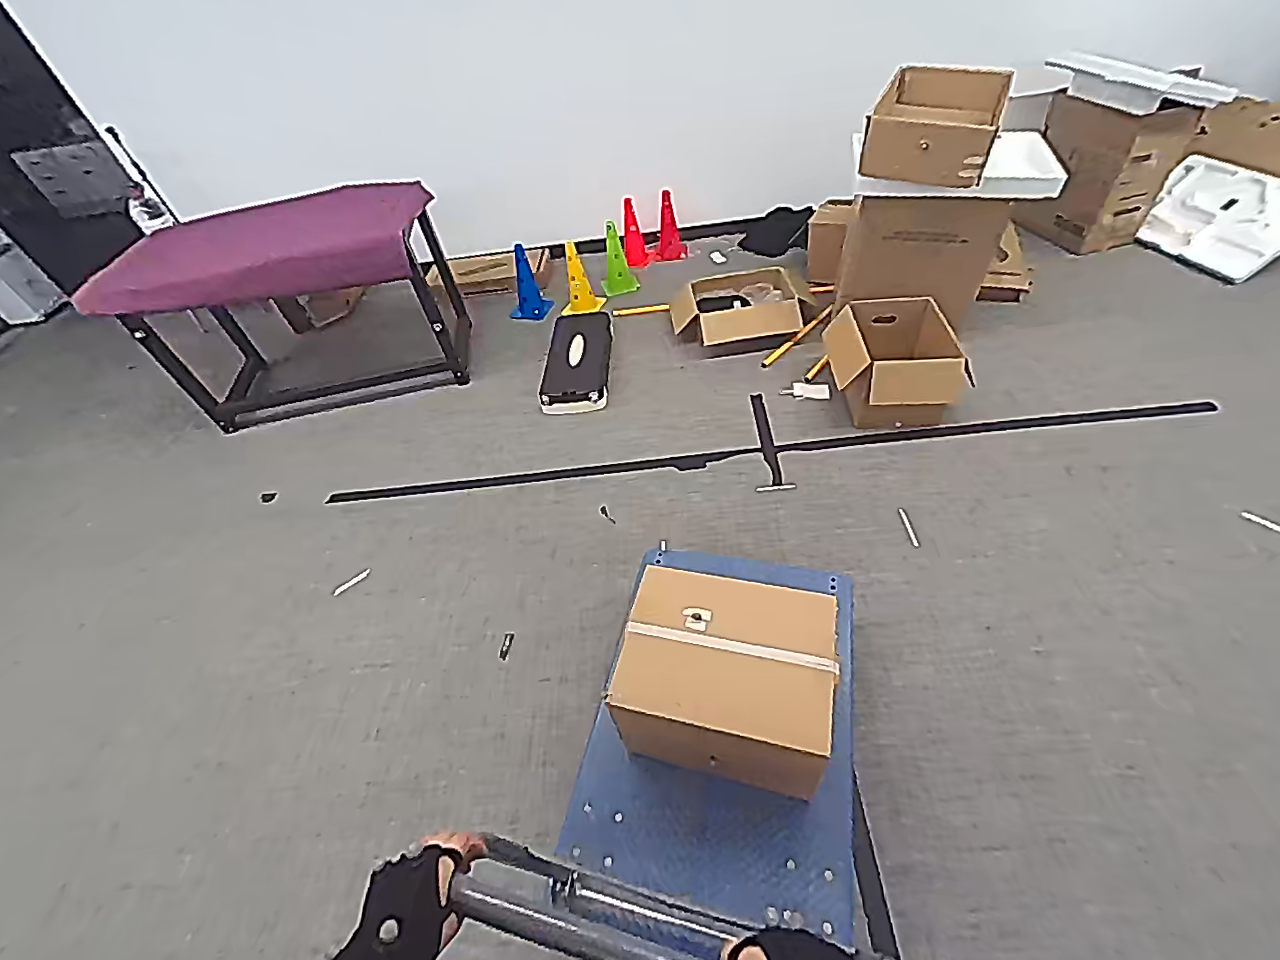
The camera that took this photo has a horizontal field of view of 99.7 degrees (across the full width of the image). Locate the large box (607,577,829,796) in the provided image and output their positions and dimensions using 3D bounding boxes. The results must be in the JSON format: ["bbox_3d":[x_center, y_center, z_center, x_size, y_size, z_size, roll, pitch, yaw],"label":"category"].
[{"bbox_3d":[0.185,0.445,1.175,0.408,0.320,0.320,6,48,16],"label":"large box"}]
